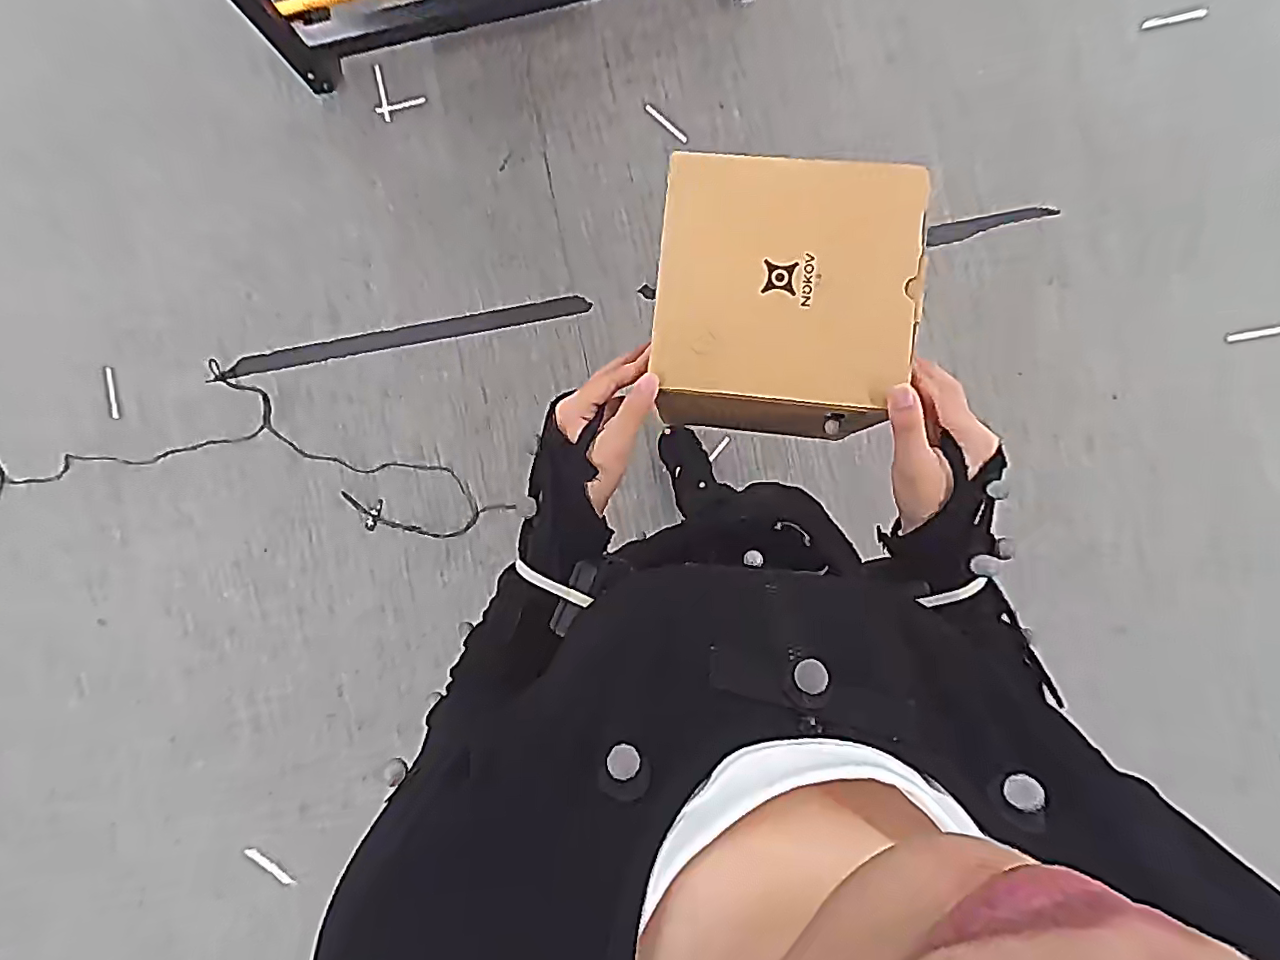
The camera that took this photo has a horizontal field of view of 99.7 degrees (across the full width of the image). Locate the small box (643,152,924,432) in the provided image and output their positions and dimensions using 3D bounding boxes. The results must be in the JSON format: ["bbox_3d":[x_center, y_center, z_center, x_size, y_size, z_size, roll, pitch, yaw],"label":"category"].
[{"bbox_3d":[0.103,-0.136,0.447,0.179,0.176,0.168,6,89,4],"label":"small box"}]
